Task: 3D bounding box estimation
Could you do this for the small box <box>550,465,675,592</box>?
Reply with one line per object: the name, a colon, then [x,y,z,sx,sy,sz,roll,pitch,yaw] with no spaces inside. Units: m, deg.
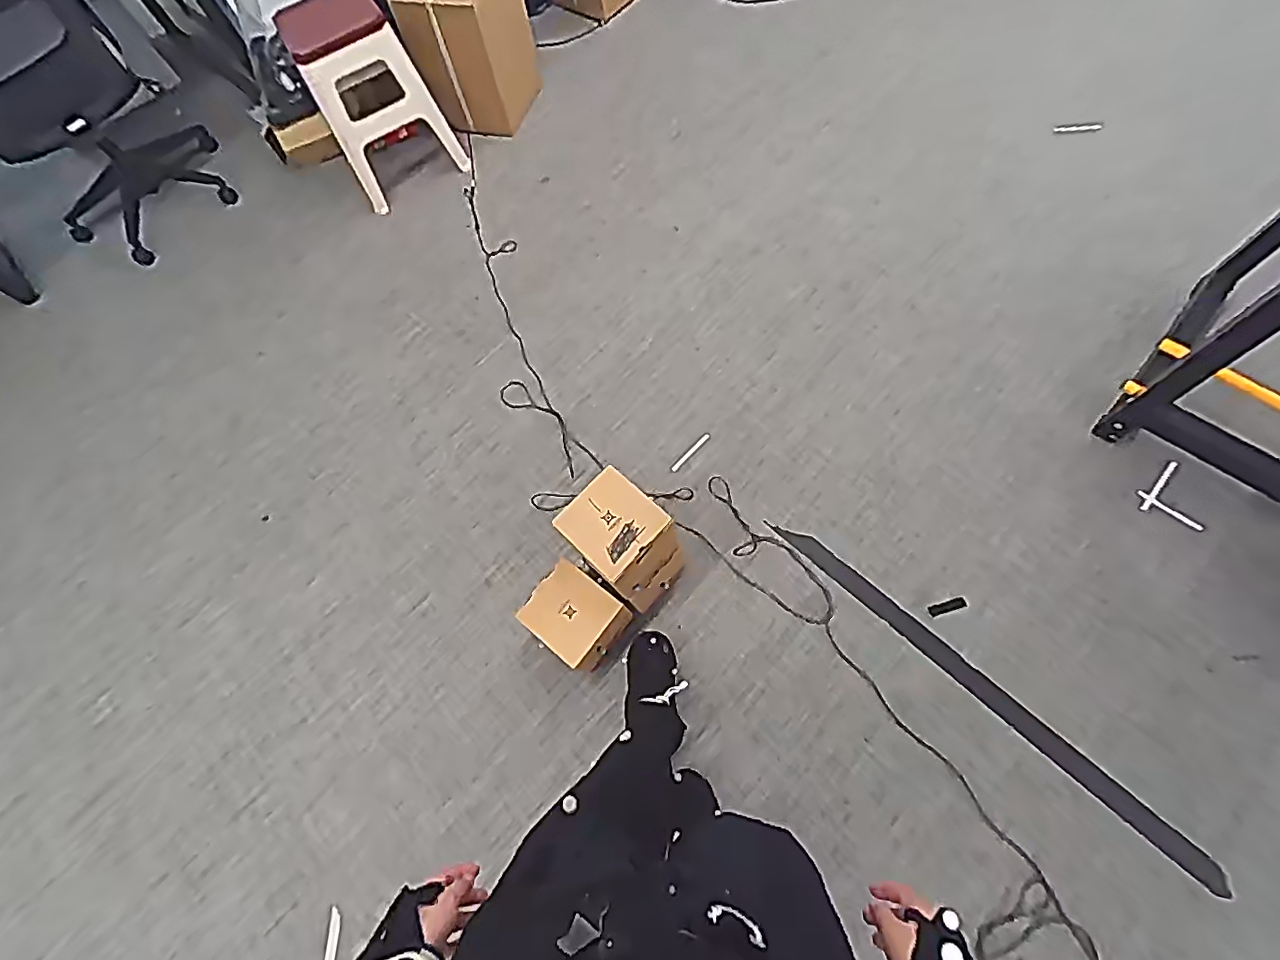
small box: [-0.046,0.107,1.088,0.179,0.176,0.168,40,78,22]
